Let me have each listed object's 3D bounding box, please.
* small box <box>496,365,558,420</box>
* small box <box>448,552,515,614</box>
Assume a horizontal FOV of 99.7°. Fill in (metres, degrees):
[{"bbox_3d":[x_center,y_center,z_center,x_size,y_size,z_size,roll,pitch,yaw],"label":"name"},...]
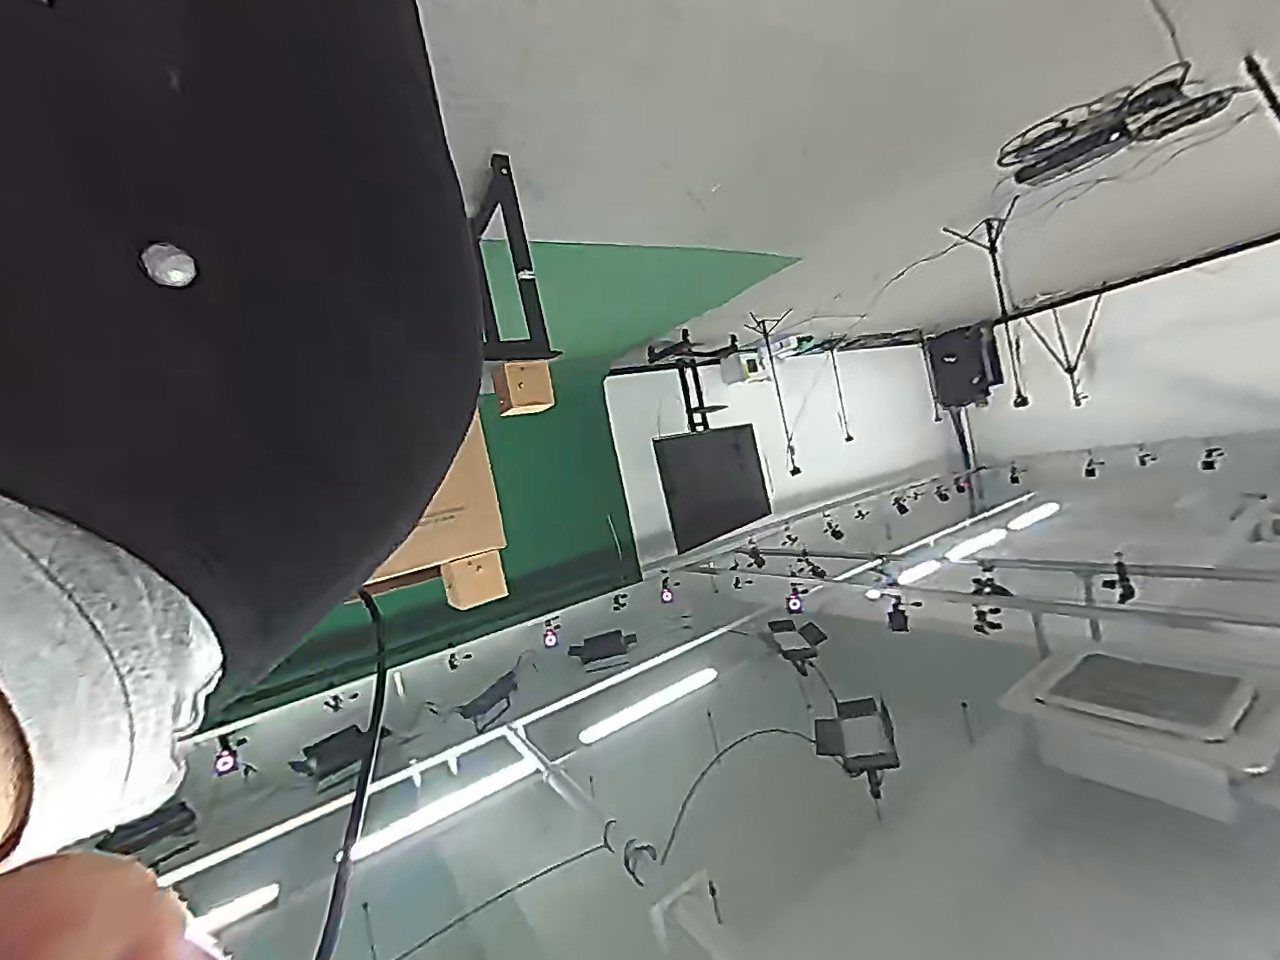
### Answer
[{"bbox_3d":[-0.429,-0.332,2.019,0.168,0.176,0.179,-12,-178,-30],"label":"small box"},{"bbox_3d":[-0.559,0.354,1.893,0.168,0.176,0.179,-16,-178,-33],"label":"small box"}]
